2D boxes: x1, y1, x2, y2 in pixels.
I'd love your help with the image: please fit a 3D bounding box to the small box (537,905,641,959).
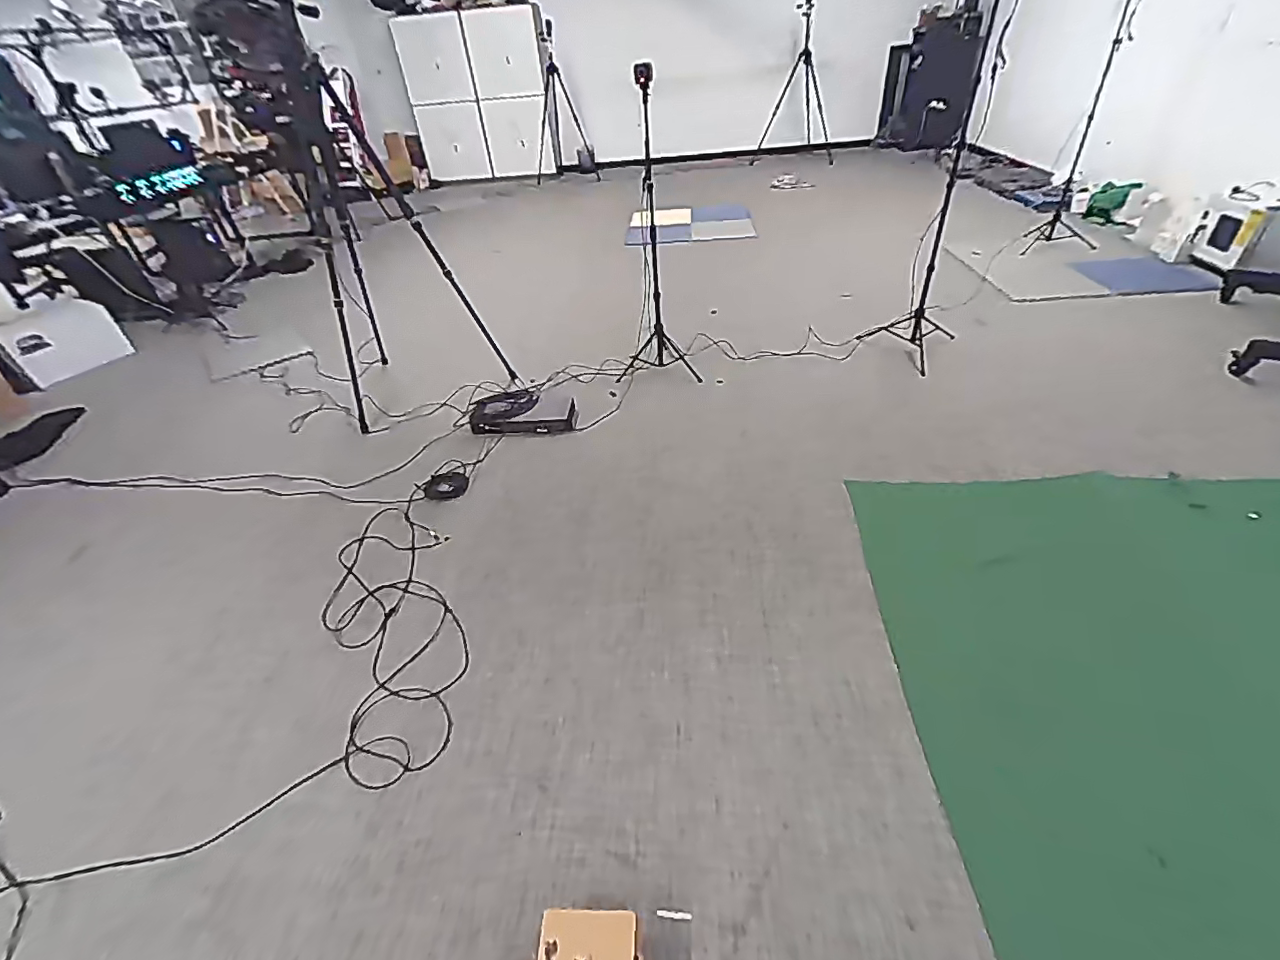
[{"bbox_3d":[-0.089,0.901,0.991,0.179,0.176,0.168,-2,40,4],"label":"small box"}]
